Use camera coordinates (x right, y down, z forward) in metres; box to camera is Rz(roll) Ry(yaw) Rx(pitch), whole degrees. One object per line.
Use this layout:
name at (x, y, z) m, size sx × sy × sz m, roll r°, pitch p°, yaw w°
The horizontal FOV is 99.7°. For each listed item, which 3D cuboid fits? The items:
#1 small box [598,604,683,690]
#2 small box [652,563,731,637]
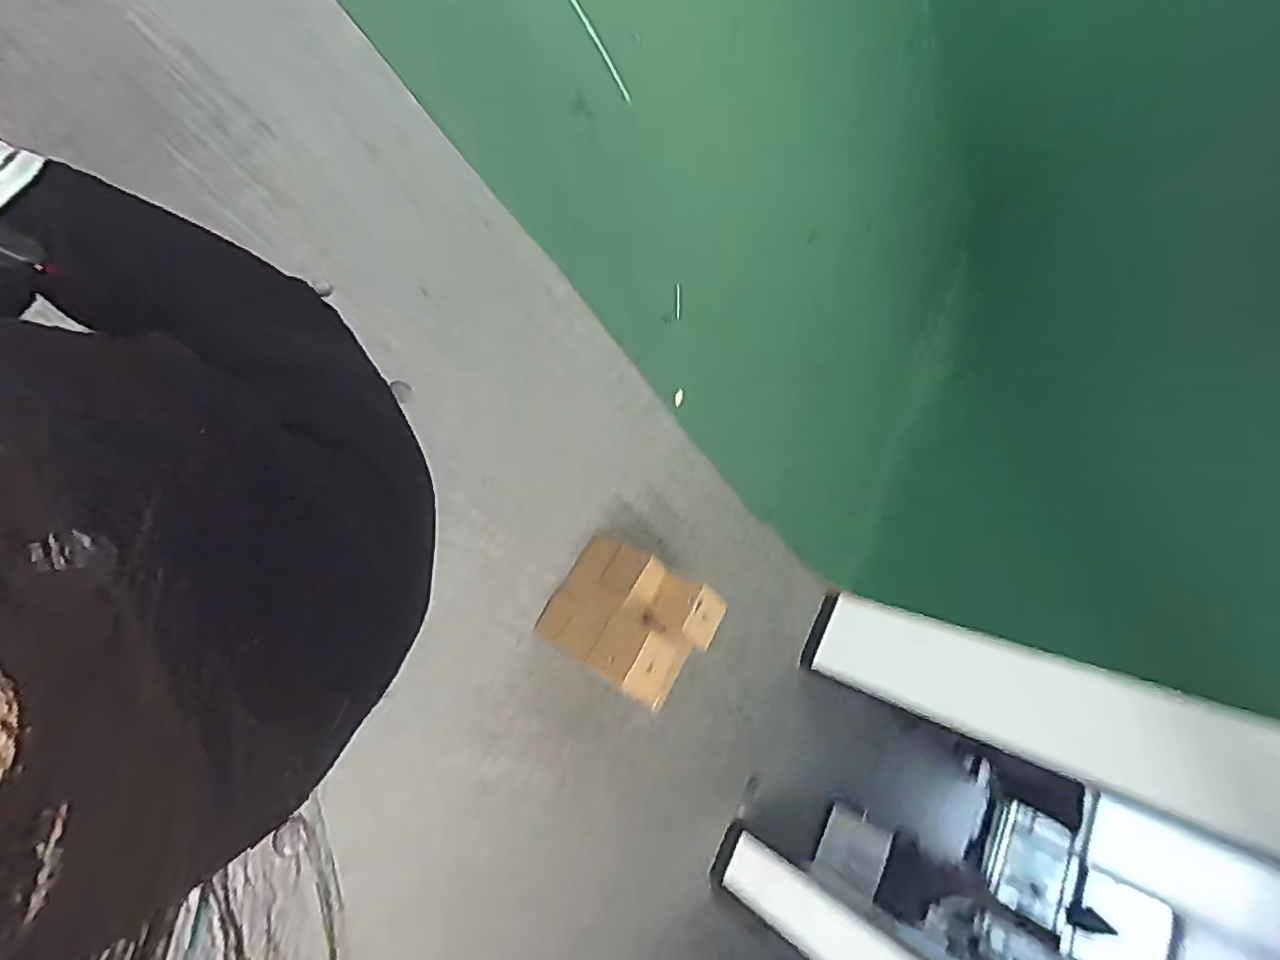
small box at (-0.005, 0.512, 1.674) m, size 0.168 × 0.176 × 0.179 m, roll 45°, pitch 67°, yaw -40°
small box at (0.173, 0.399, 1.824) m, size 0.179 × 0.176 × 0.168 m, roll 47°, pitch 66°, yaw -41°
